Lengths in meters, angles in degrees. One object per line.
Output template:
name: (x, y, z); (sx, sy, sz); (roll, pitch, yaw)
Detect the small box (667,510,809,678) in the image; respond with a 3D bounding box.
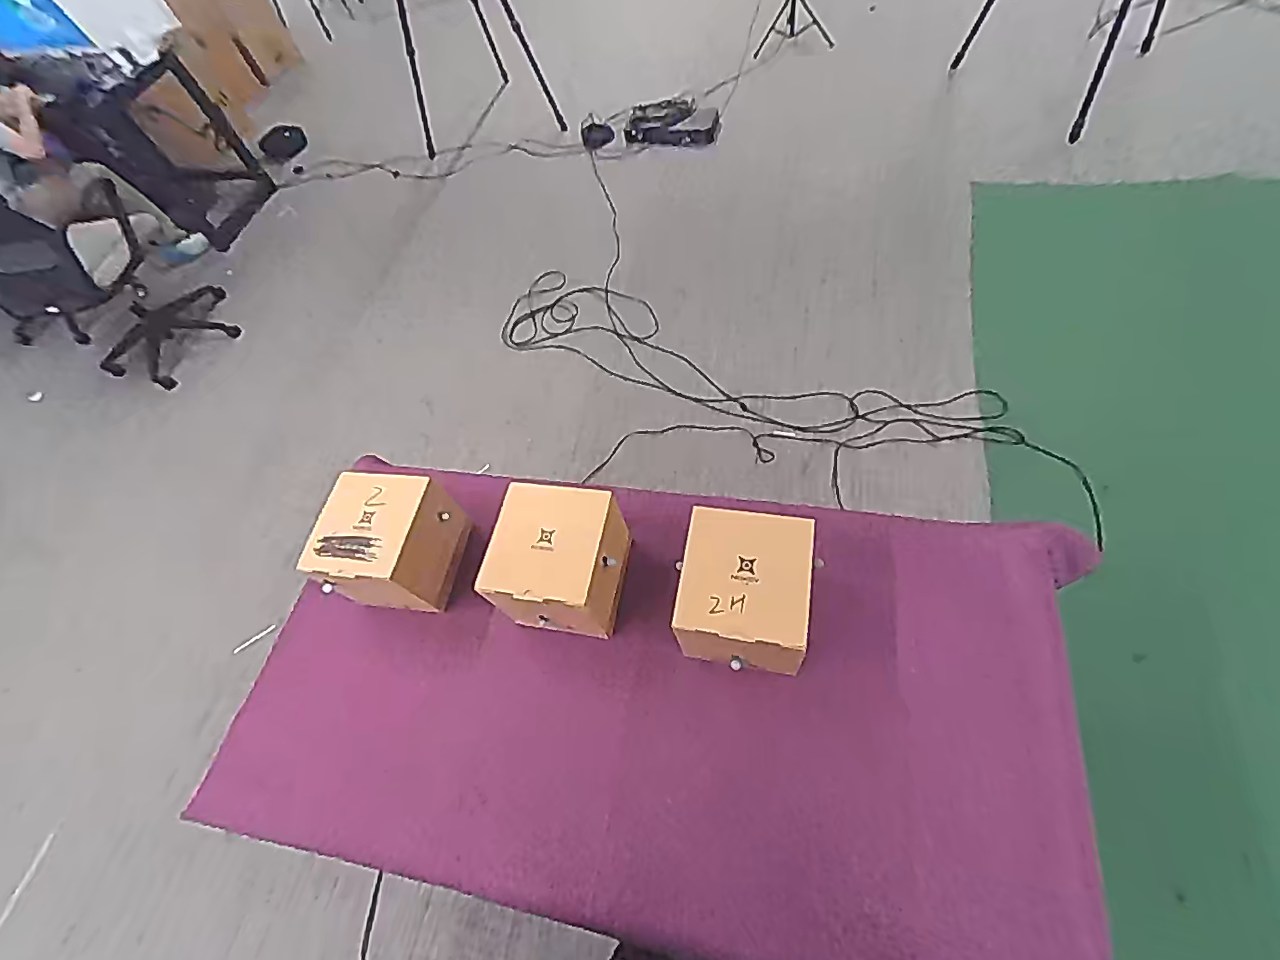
small box: (0.143, 0.165, 0.771); (0.168, 0.176, 0.179); (6, 62, 15)

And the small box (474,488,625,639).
small box: (-0.127, 0.134, 0.847); (0.168, 0.176, 0.179); (5, 62, 14)
